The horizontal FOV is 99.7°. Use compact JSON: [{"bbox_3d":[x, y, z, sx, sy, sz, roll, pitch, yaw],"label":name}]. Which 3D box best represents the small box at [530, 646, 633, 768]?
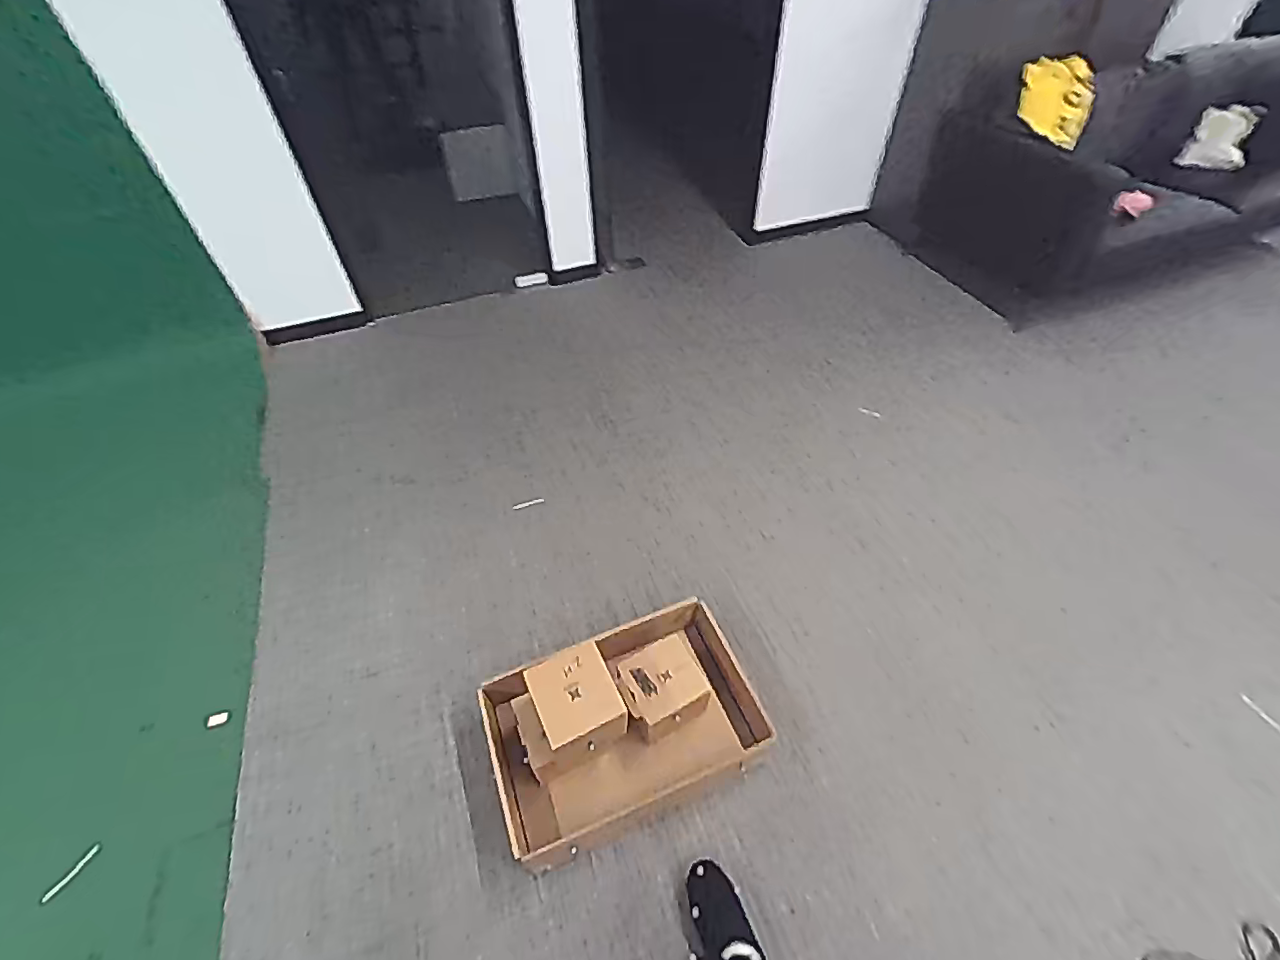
[{"bbox_3d":[-0.123,0.501,1.178,0.168,0.176,0.179,-21,53,-18],"label":"small box"}]

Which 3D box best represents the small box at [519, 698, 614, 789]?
[{"bbox_3d":[-0.173,0.611,1.300,0.179,0.176,0.168,-20,52,-17],"label":"small box"}]

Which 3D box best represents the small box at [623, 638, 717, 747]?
[{"bbox_3d":[0.075,0.536,1.355,0.179,0.176,0.168,-24,53,-17],"label":"small box"}]
